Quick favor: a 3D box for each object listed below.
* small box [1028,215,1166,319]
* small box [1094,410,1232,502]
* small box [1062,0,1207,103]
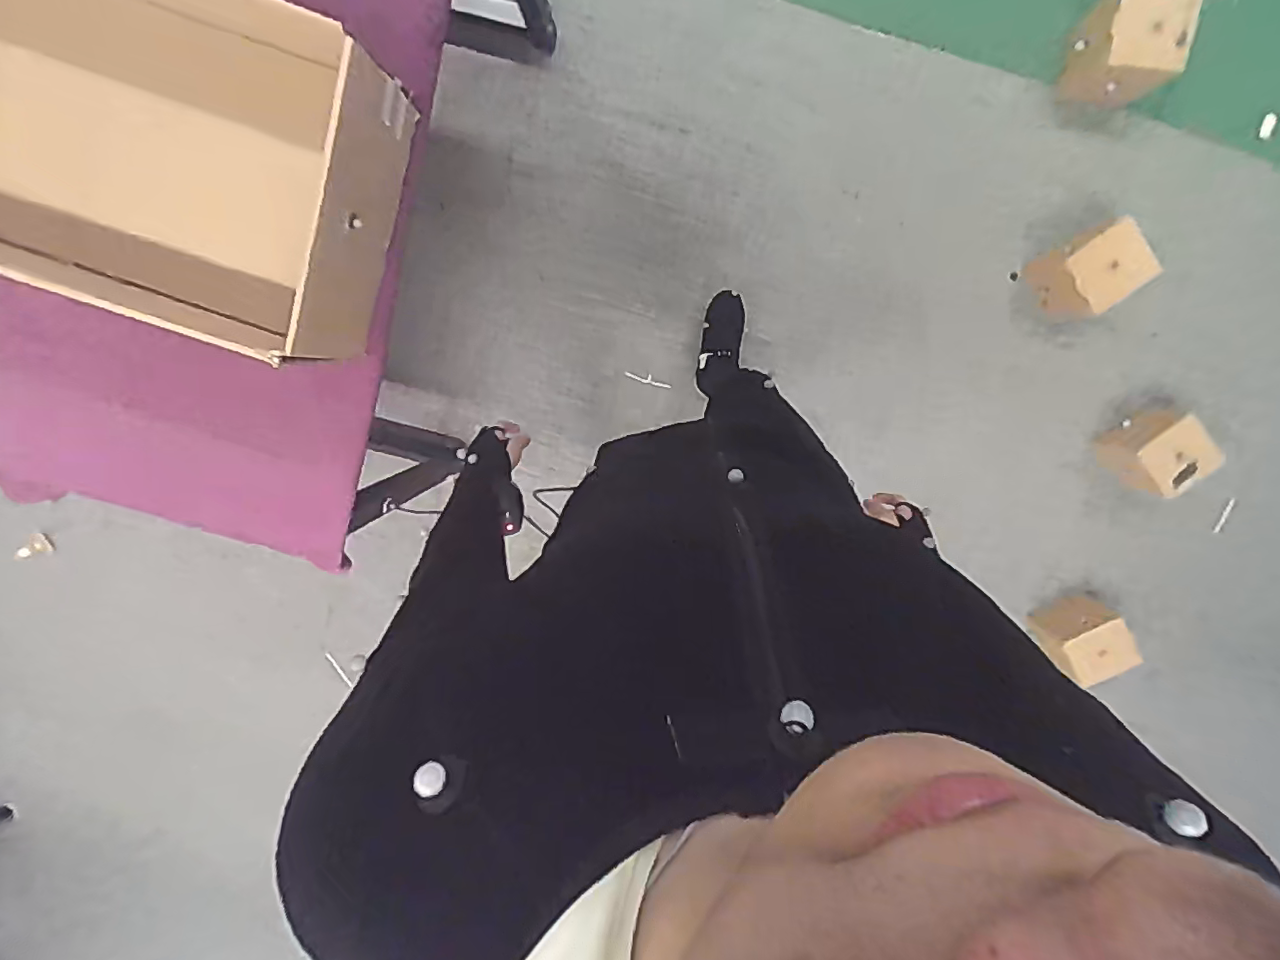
[{"bbox_3d":[1.151,-0.532,1.376,0.179,0.176,0.168,-37,99,11],"label":"small box"},{"bbox_3d":[1.405,-0.073,1.465,0.168,0.176,0.179,-40,98,10],"label":"small box"},{"bbox_3d":[1.146,-1.016,1.268,0.179,0.176,0.168,7,103,1],"label":"small box"}]
